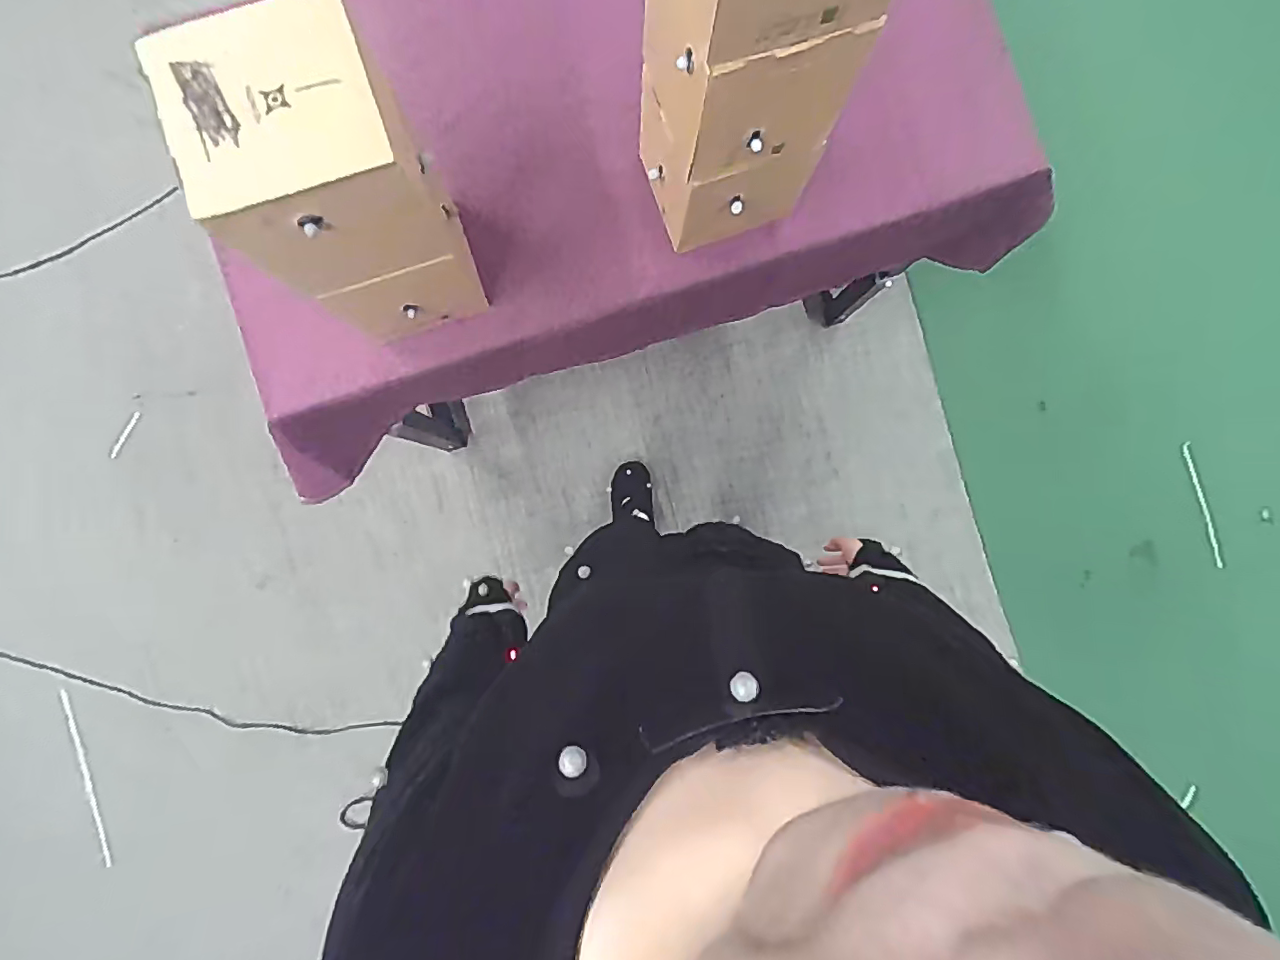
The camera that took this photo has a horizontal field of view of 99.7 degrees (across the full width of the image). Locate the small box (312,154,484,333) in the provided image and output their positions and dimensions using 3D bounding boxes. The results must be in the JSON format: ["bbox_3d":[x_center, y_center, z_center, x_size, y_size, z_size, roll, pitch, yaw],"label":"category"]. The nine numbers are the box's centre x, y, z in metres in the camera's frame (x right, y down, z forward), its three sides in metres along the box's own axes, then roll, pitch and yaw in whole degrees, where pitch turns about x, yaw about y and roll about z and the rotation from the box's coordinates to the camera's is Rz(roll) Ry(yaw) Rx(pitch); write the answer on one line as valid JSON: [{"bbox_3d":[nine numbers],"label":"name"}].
[{"bbox_3d":[-0.319,-0.305,0.697,0.168,0.176,0.179,-18,88,-3],"label":"small box"}]

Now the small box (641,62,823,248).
[{"bbox_3d":[0.109,-0.438,0.714,0.179,0.176,0.168,-20,88,-1],"label":"small box"}]

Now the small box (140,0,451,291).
[{"bbox_3d":[-0.315,-0.312,0.532,0.179,0.176,0.168,-19,88,-3],"label":"small box"}]

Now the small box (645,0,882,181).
[{"bbox_3d":[0.107,-0.451,0.551,0.168,0.176,0.179,-18,88,-2],"label":"small box"}]
